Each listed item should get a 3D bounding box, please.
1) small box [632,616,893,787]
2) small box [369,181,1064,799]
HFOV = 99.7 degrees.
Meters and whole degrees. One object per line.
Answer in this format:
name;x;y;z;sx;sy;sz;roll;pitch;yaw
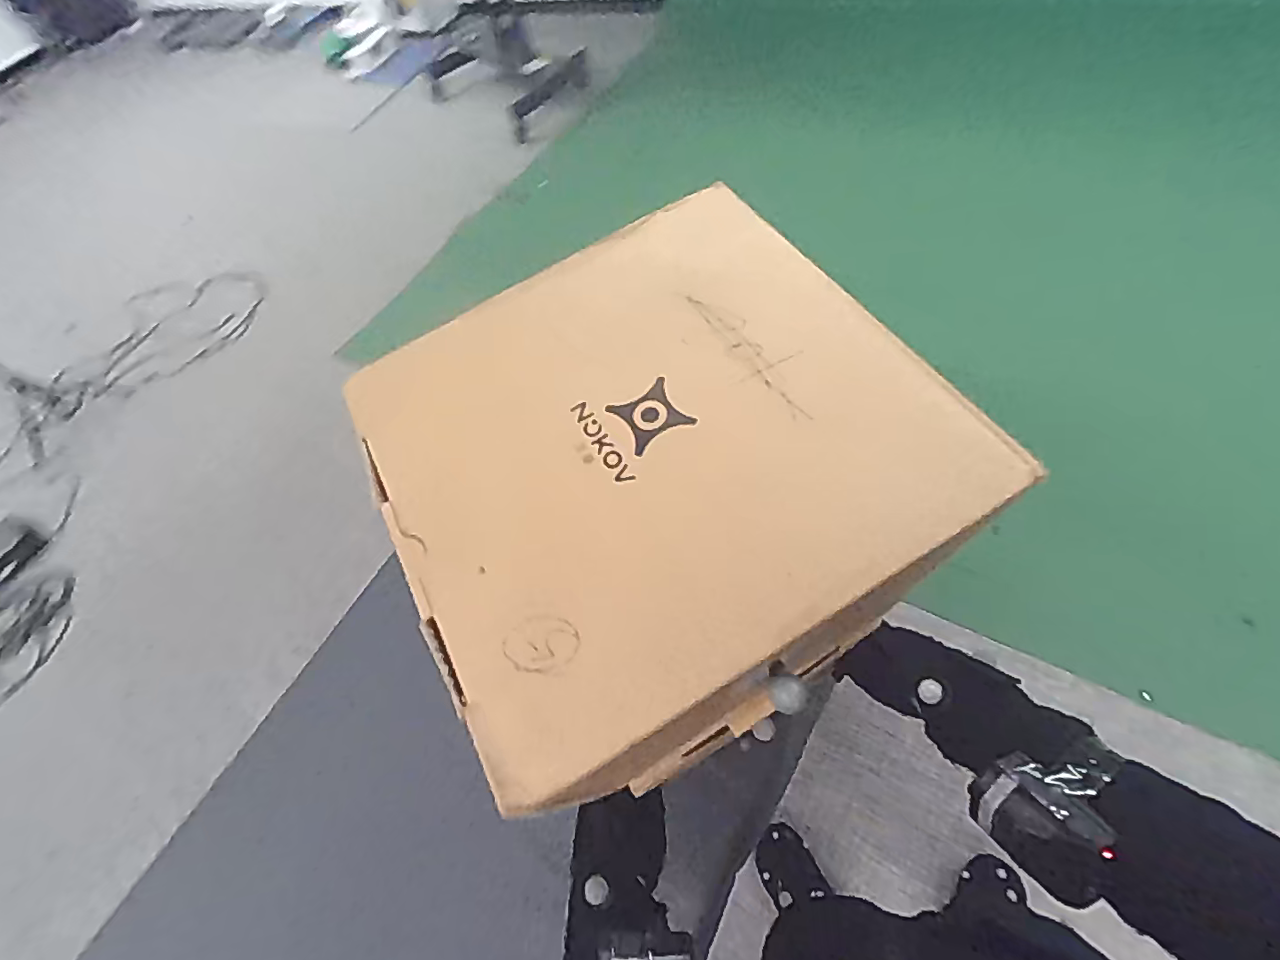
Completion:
small box;0.040;0.087;0.394;0.168;0.176;0.179;-30;65;-7
small box;0.020;0.014;0.249;0.179;0.176;0.168;-29;65;-7
